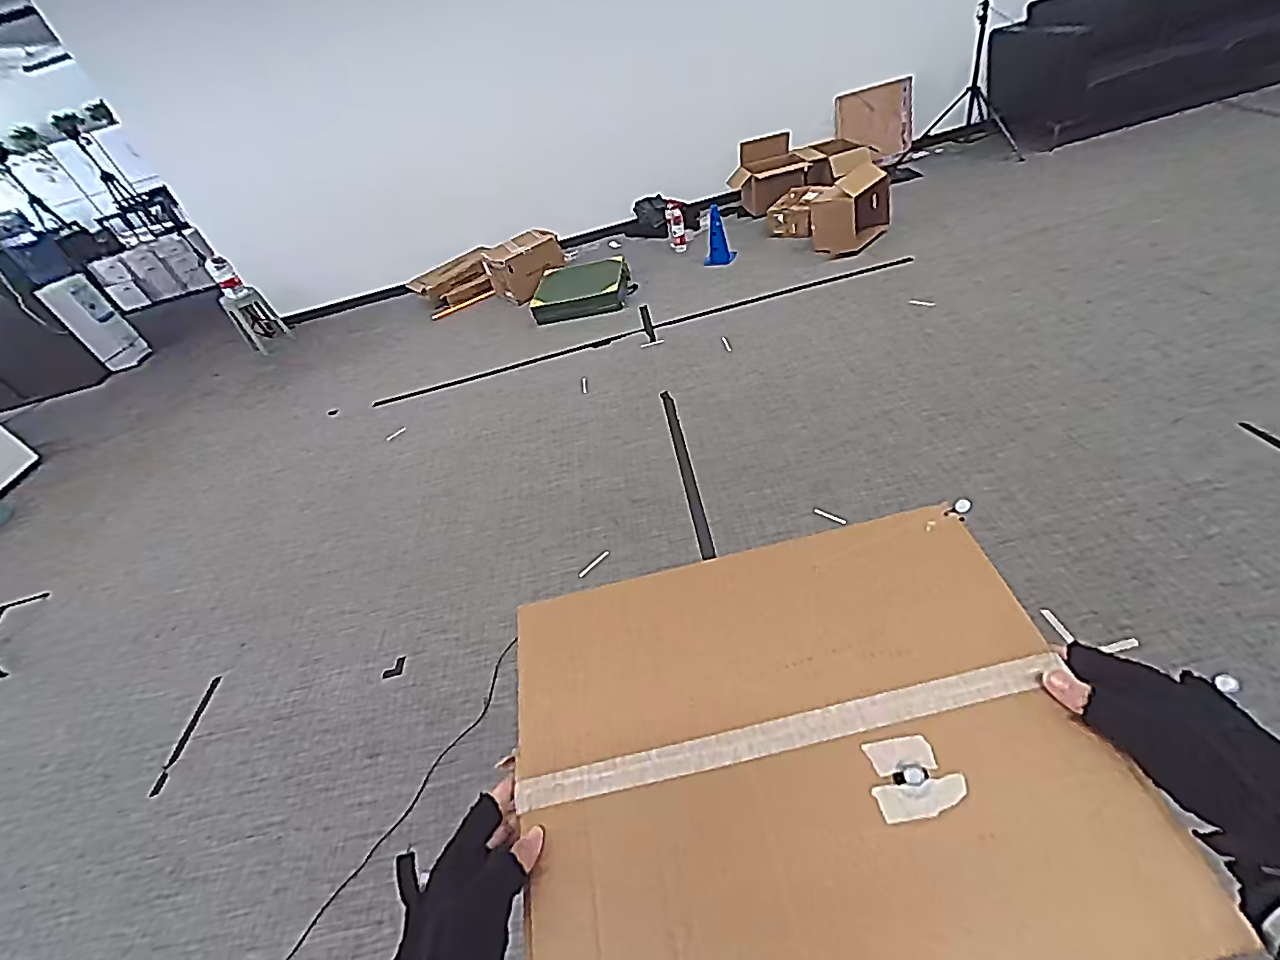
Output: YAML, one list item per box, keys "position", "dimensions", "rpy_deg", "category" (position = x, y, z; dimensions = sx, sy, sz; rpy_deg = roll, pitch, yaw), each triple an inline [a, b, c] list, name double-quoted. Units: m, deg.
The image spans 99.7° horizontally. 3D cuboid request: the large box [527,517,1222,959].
- position: [0.137, 0.289, 0.515]
  dimensions: [0.408, 0.320, 0.320]
  rpy_deg: [-14, 49, 0]
  category: "large box"
